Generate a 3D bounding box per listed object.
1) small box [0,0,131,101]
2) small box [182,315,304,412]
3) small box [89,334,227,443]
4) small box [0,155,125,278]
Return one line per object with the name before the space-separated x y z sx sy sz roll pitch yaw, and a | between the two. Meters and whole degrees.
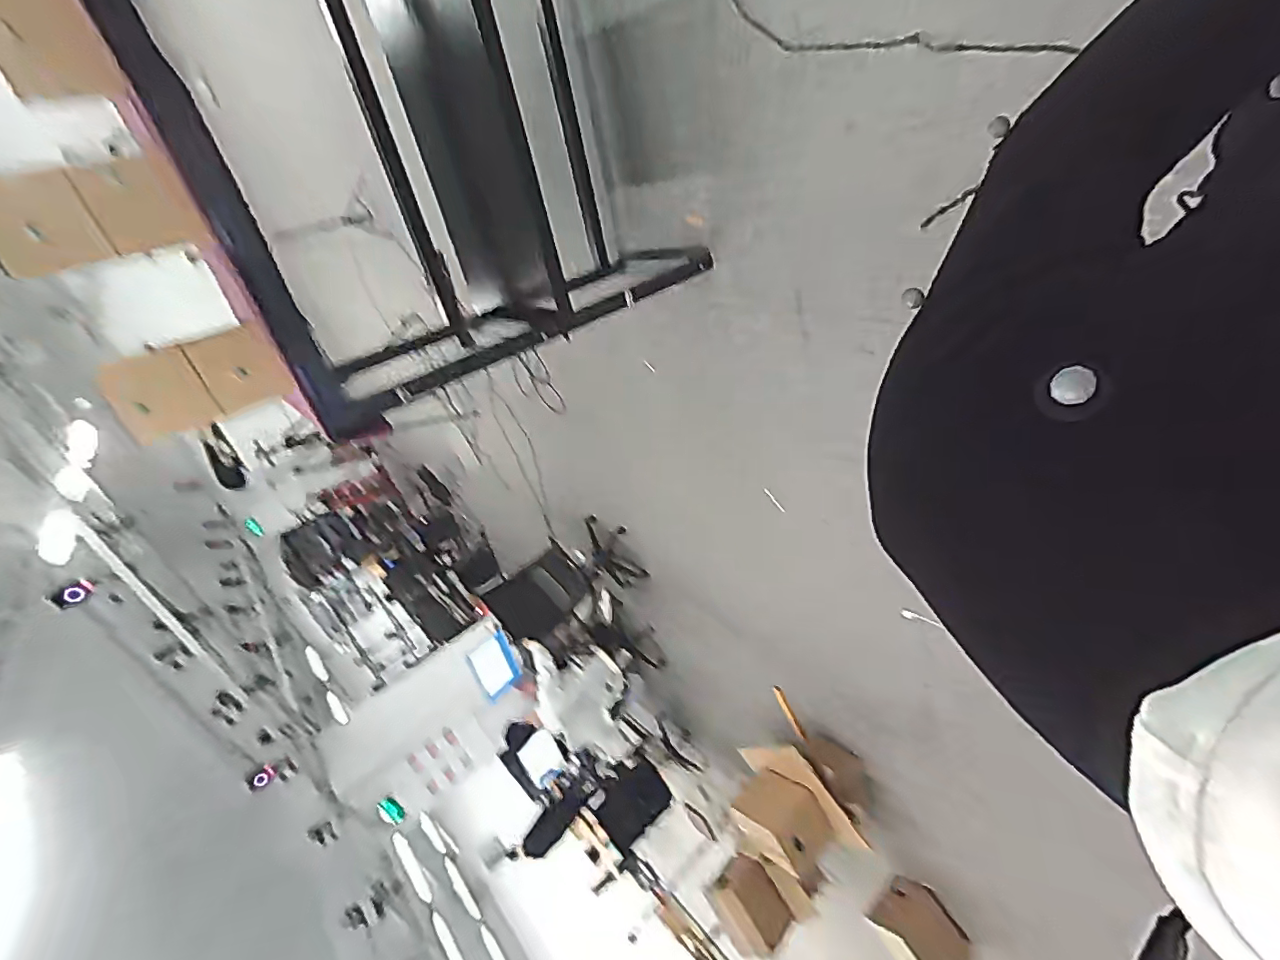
small box | -1.072 -0.812 0.975 0.168 0.176 0.179 24 137 42
small box | -0.948 -0.286 1.295 0.168 0.176 0.179 22 136 47
small box | -1.071 -0.211 1.216 0.168 0.176 0.179 23 136 45
small box | -1.152 -0.510 1.049 0.168 0.176 0.179 26 139 43
